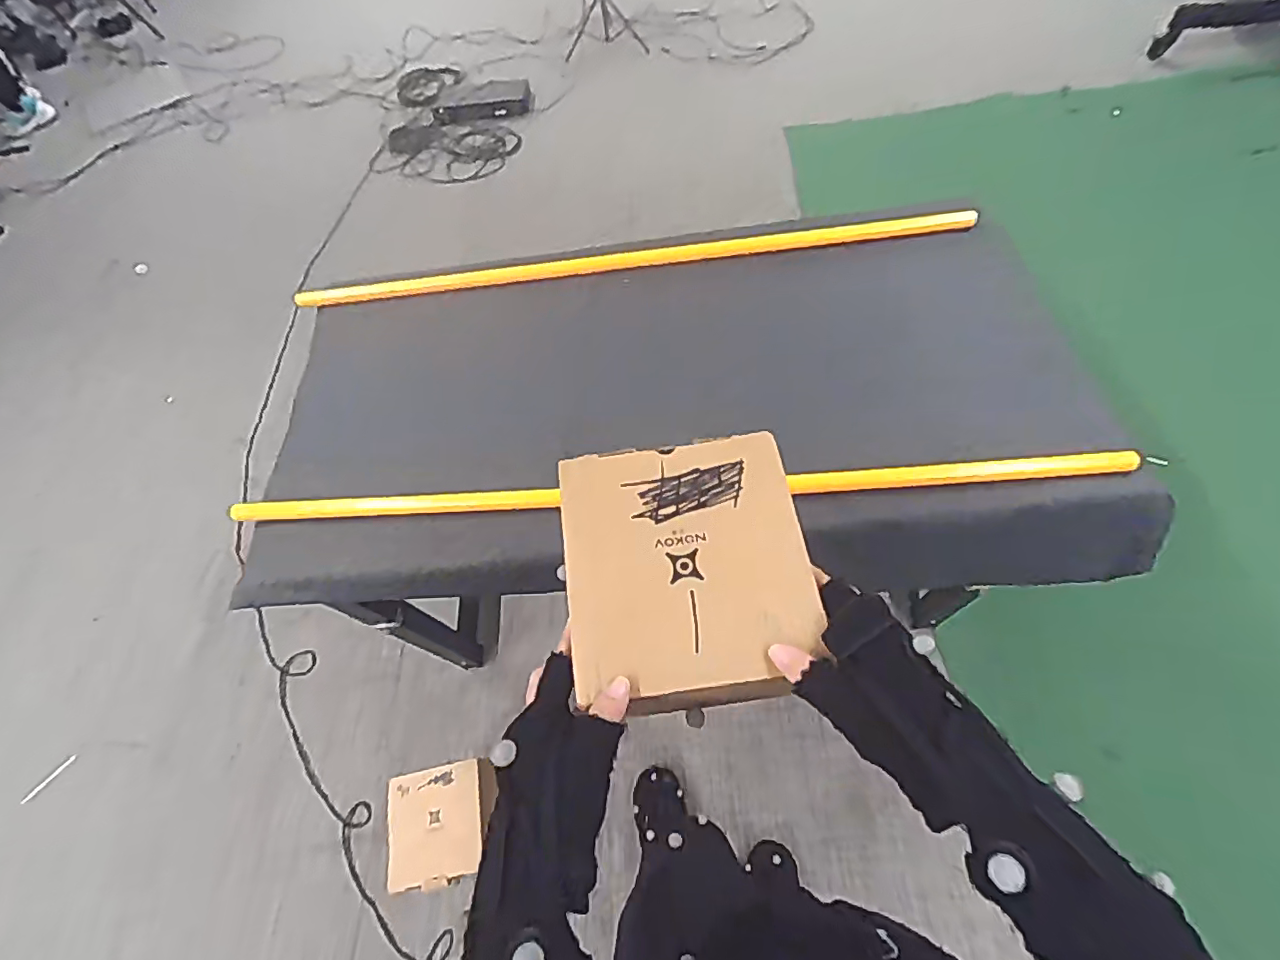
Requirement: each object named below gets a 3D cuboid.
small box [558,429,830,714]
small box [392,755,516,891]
[{"bbox_3d":[0.032,0.083,0.443,0.168,0.176,0.179,-9,63,0],"label":"small box"},{"bbox_3d":[-0.343,0.631,1.014,0.168,0.176,0.179,-16,60,-1],"label":"small box"}]
